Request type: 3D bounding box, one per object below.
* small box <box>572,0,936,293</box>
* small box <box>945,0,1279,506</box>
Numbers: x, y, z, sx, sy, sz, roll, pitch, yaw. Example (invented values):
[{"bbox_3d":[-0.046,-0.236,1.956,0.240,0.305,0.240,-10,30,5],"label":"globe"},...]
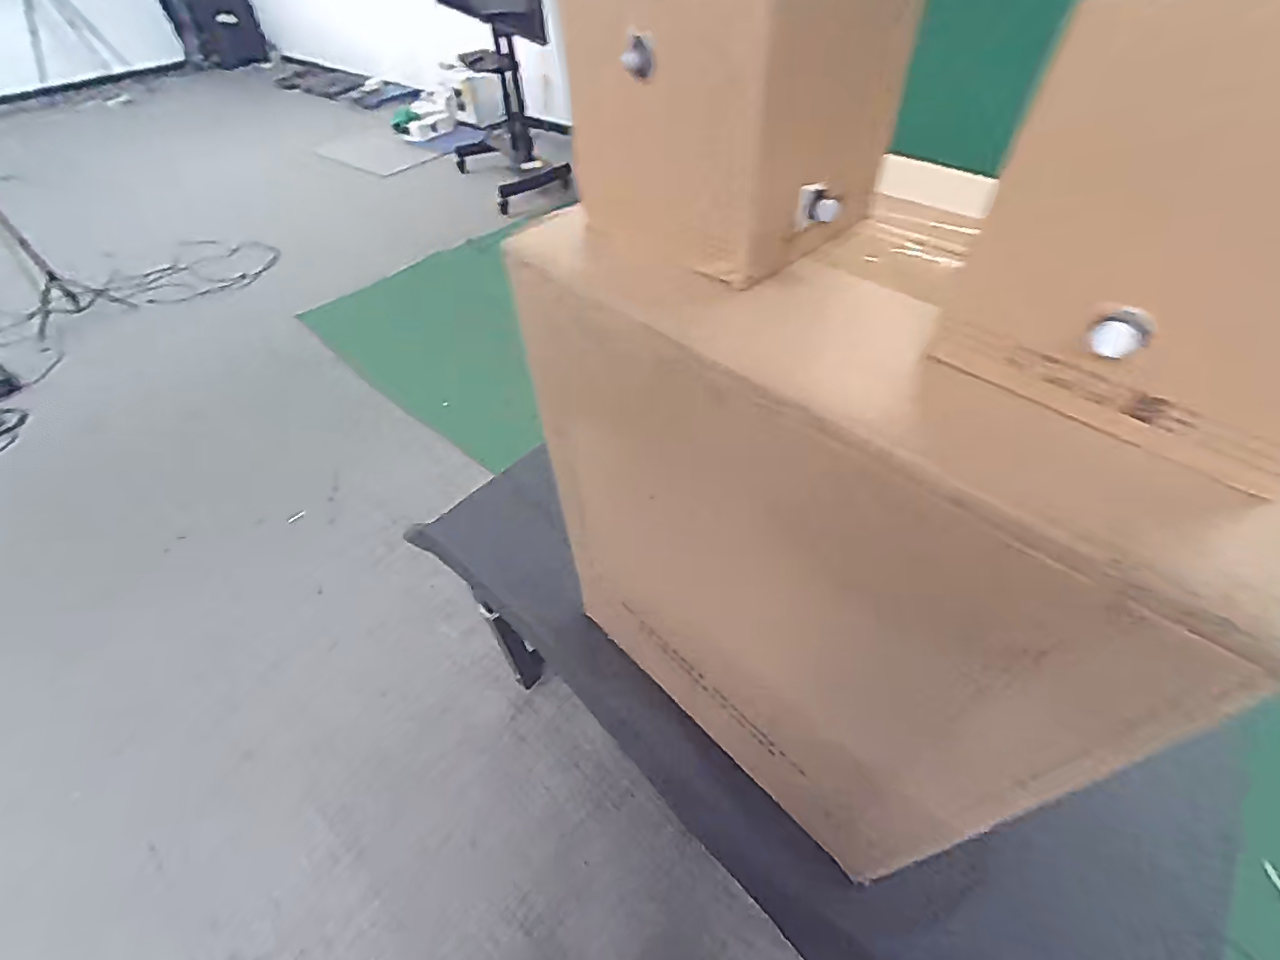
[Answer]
[{"bbox_3d":[0.071,-0.263,0.392,0.168,0.176,0.179,-37,57,-24],"label":"small box"},{"bbox_3d":[0.284,-0.124,0.257,0.179,0.176,0.168,-38,58,-25],"label":"small box"}]
